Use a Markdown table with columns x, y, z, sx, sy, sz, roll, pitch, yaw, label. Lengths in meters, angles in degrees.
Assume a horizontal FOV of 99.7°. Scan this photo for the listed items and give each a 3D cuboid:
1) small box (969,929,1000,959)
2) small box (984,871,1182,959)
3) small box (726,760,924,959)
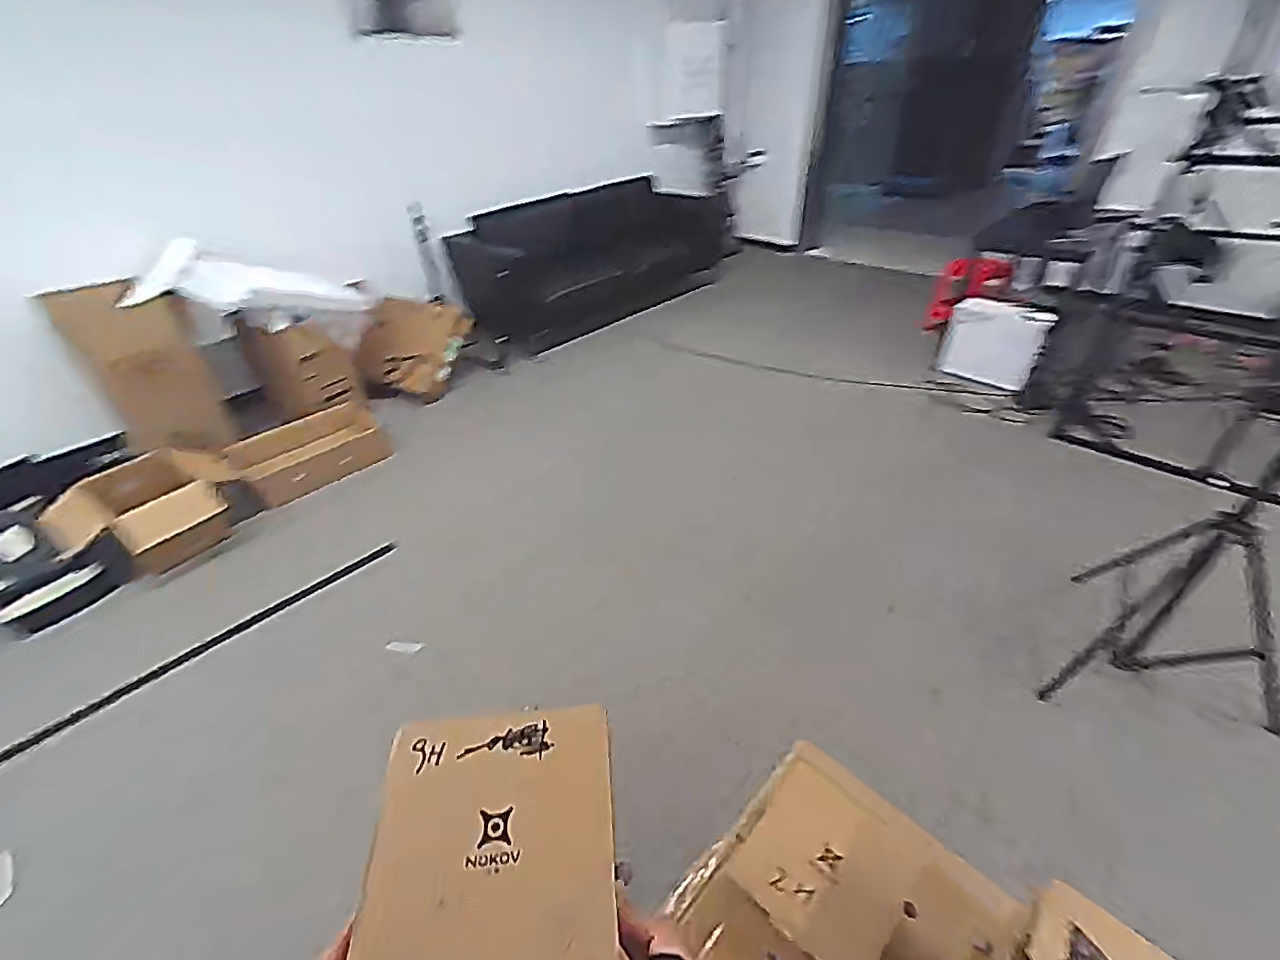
| x | y | z | sx | sy | sz | roll | pitch | yaw | label |
| --- | --- | --- | --- | --- | --- | --- | --- | --- | --- |
| 0.383 | 0.613 | 0.533 | 0.179 | 0.176 | 0.168 | -33 | 43 | -32 | small box |
| 0.373 | 0.481 | 0.435 | 0.168 | 0.176 | 0.179 | -32 | 44 | -33 | small box |
| 0.222 | 0.510 | 0.683 | 0.168 | 0.176 | 0.179 | 29 | 47 | 35 | small box |
